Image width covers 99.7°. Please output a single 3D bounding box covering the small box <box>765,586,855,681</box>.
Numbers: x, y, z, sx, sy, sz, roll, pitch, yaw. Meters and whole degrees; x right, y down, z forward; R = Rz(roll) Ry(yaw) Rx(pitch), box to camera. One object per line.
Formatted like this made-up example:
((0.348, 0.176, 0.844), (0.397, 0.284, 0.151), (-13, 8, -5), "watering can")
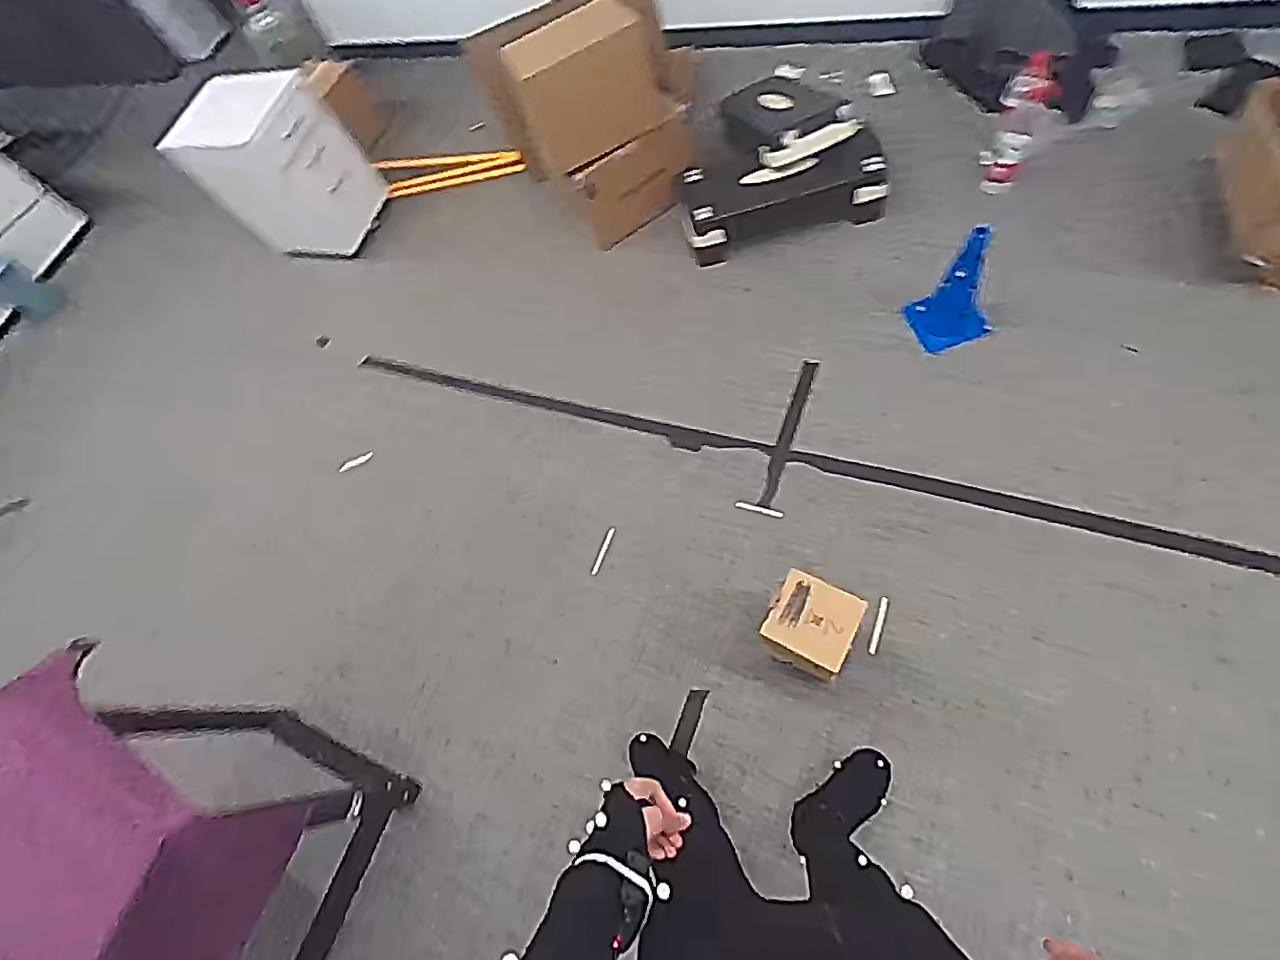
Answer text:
((0.430, 0.394, 1.371), (0.168, 0.176, 0.179), (20, 74, 22), "small box")
